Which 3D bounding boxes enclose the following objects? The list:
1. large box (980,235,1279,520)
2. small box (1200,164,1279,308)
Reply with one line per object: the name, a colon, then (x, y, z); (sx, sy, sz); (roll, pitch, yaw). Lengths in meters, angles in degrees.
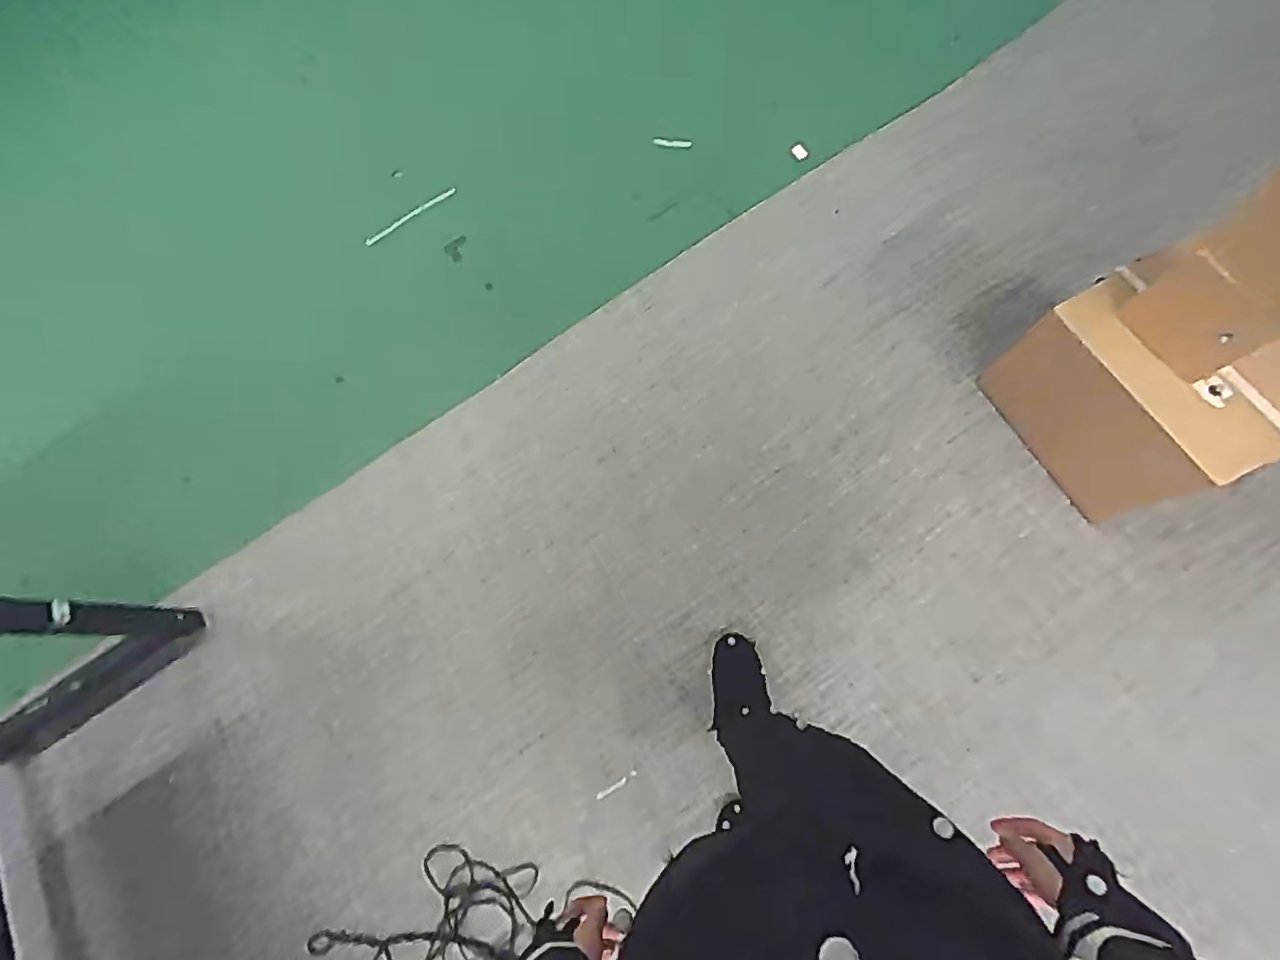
large box: (1.009, -0.187, 1.091); (0.320, 0.320, 0.408); (-29, 73, 0)
small box: (0.944, -0.355, 0.723); (0.168, 0.176, 0.179); (-24, 71, -1)
